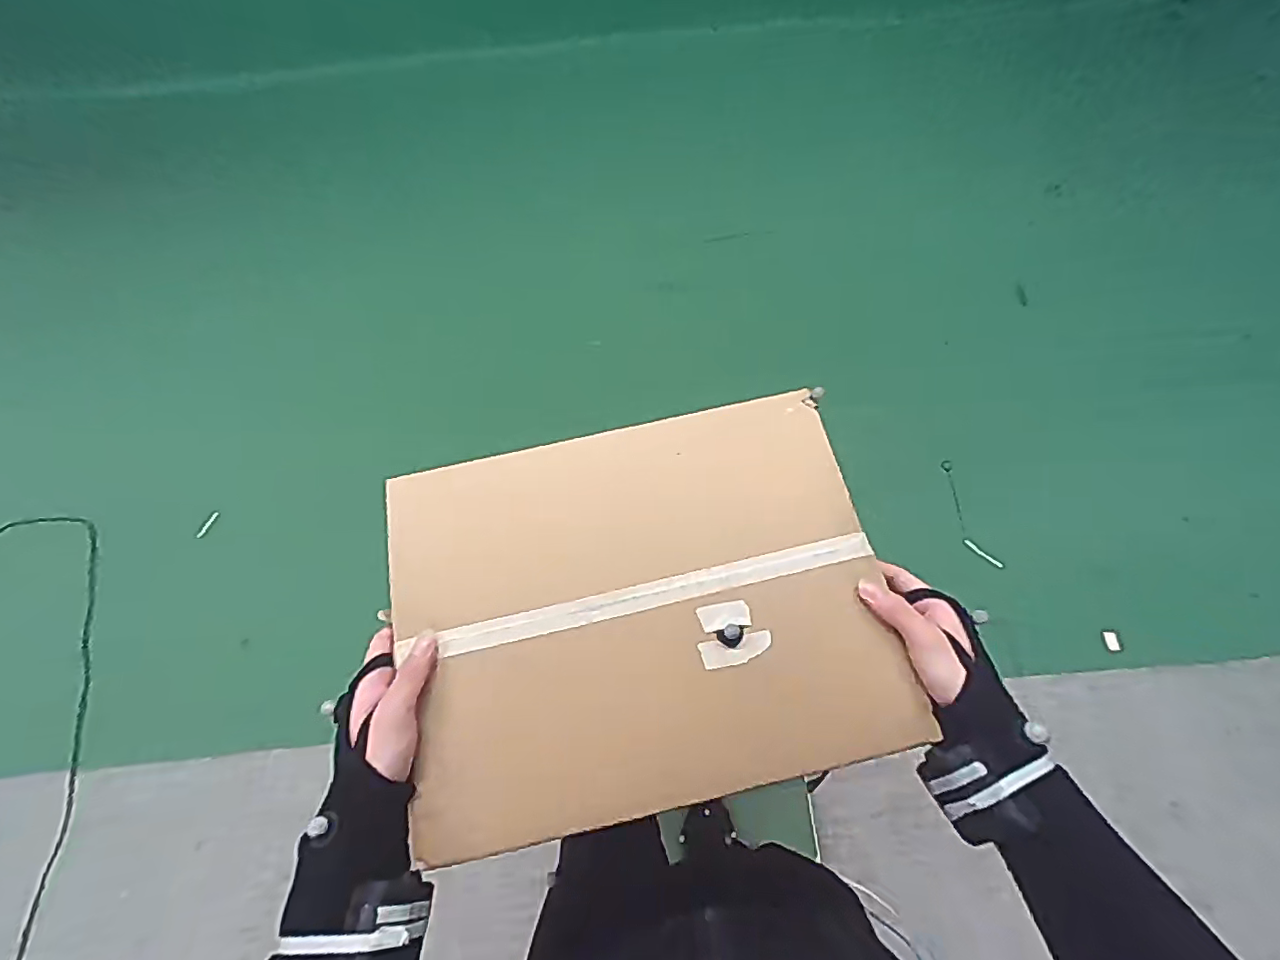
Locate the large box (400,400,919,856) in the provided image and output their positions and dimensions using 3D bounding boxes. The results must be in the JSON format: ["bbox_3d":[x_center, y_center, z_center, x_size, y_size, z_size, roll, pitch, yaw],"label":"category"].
[{"bbox_3d":[0.001,0.156,0.609,0.408,0.320,0.320,-13,70,-4],"label":"large box"}]
